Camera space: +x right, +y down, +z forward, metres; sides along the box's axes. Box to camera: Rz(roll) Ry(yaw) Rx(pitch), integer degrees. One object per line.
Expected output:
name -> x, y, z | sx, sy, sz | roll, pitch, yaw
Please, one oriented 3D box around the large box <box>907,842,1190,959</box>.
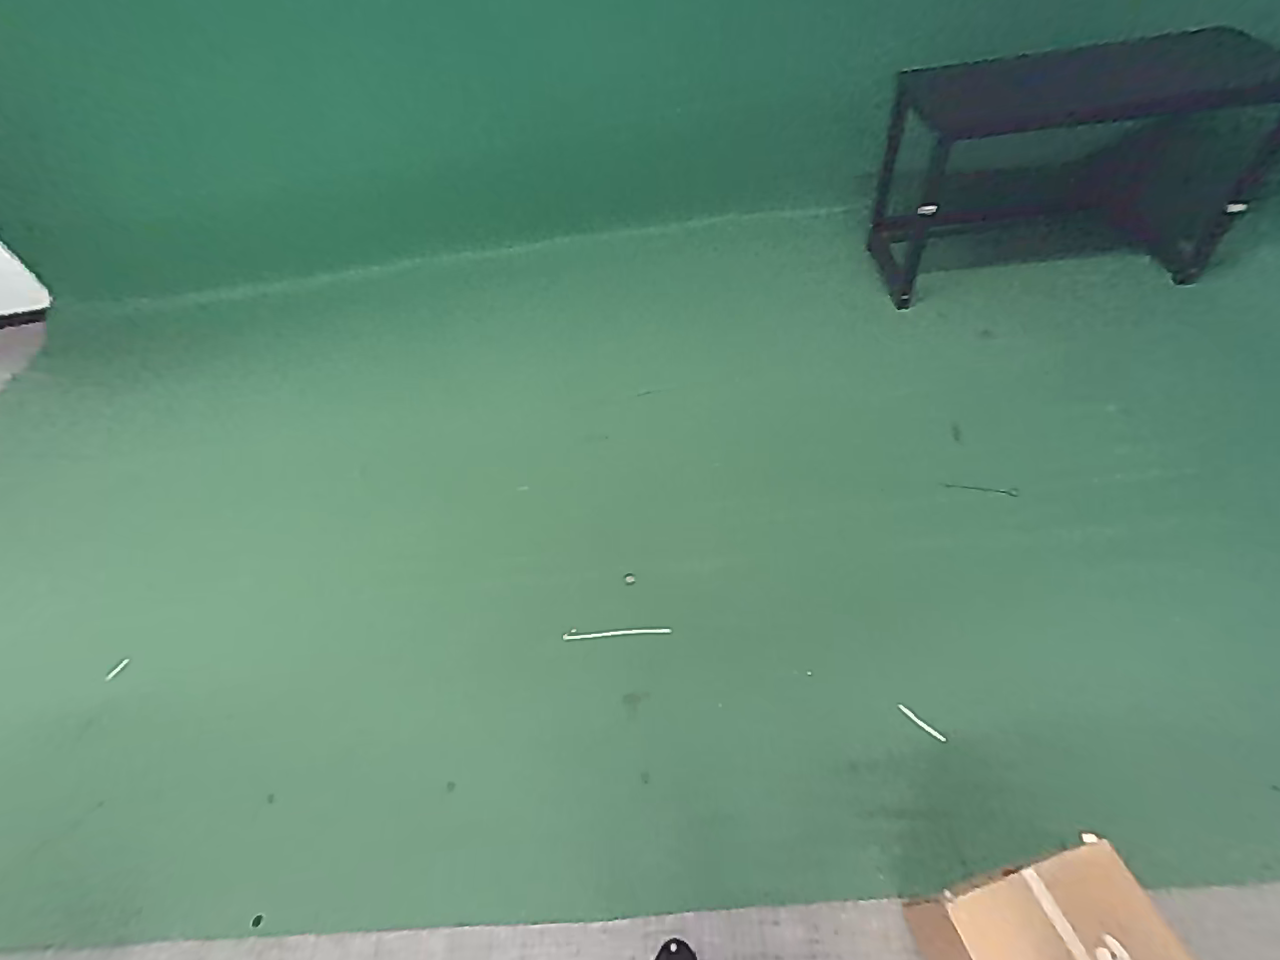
large box -> 0.725, 0.899, 0.893 | 0.320, 0.320, 0.408 | -17, 48, -5
